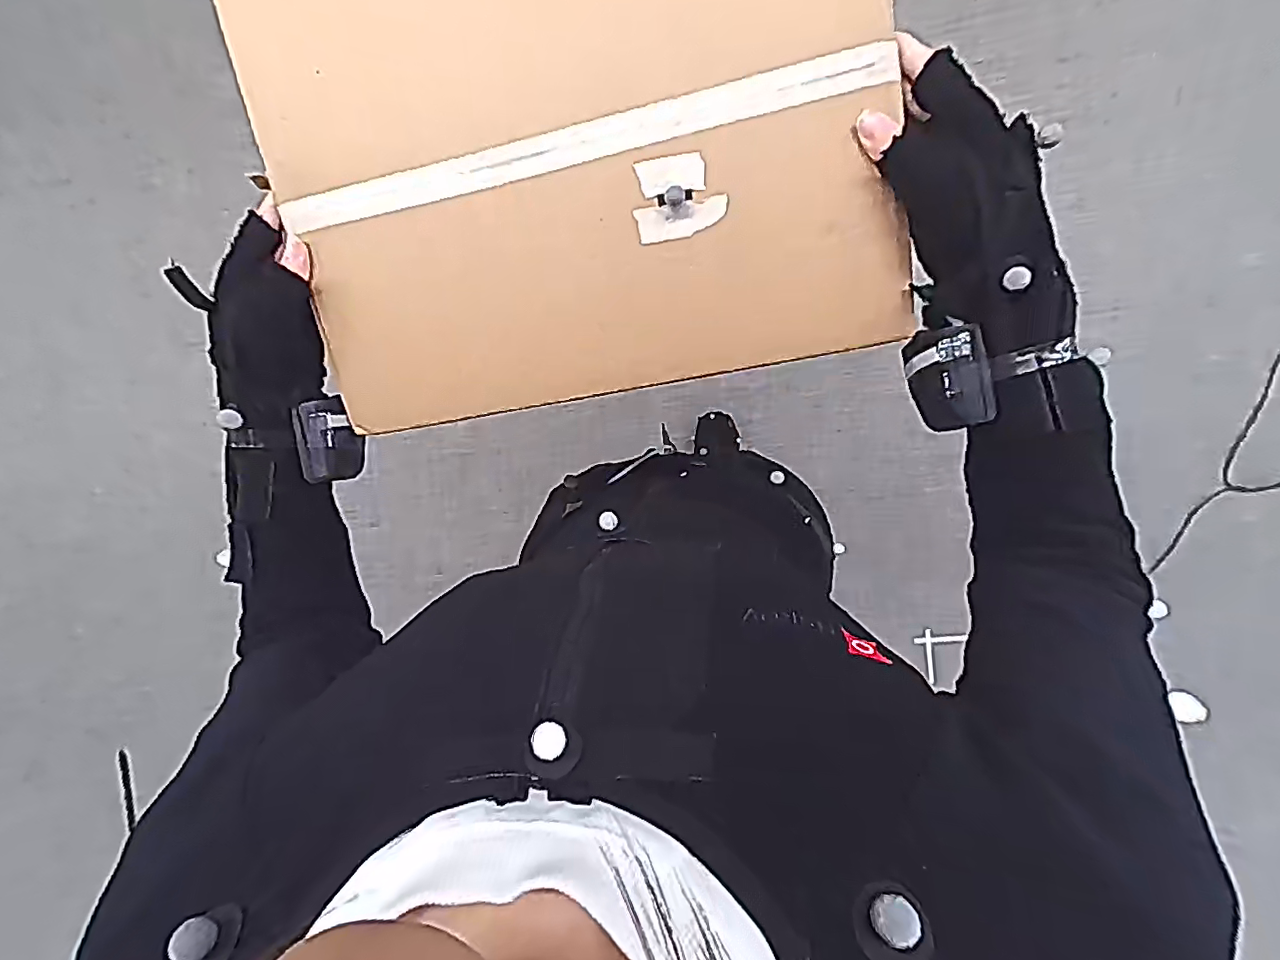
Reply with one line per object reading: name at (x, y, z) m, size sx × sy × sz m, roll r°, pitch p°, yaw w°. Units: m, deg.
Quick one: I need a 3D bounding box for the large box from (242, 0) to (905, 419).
large box at (-0.030, -0.263, 0.500) m, size 0.408 × 0.320 × 0.320 m, roll -9°, pitch 105°, yaw 8°
